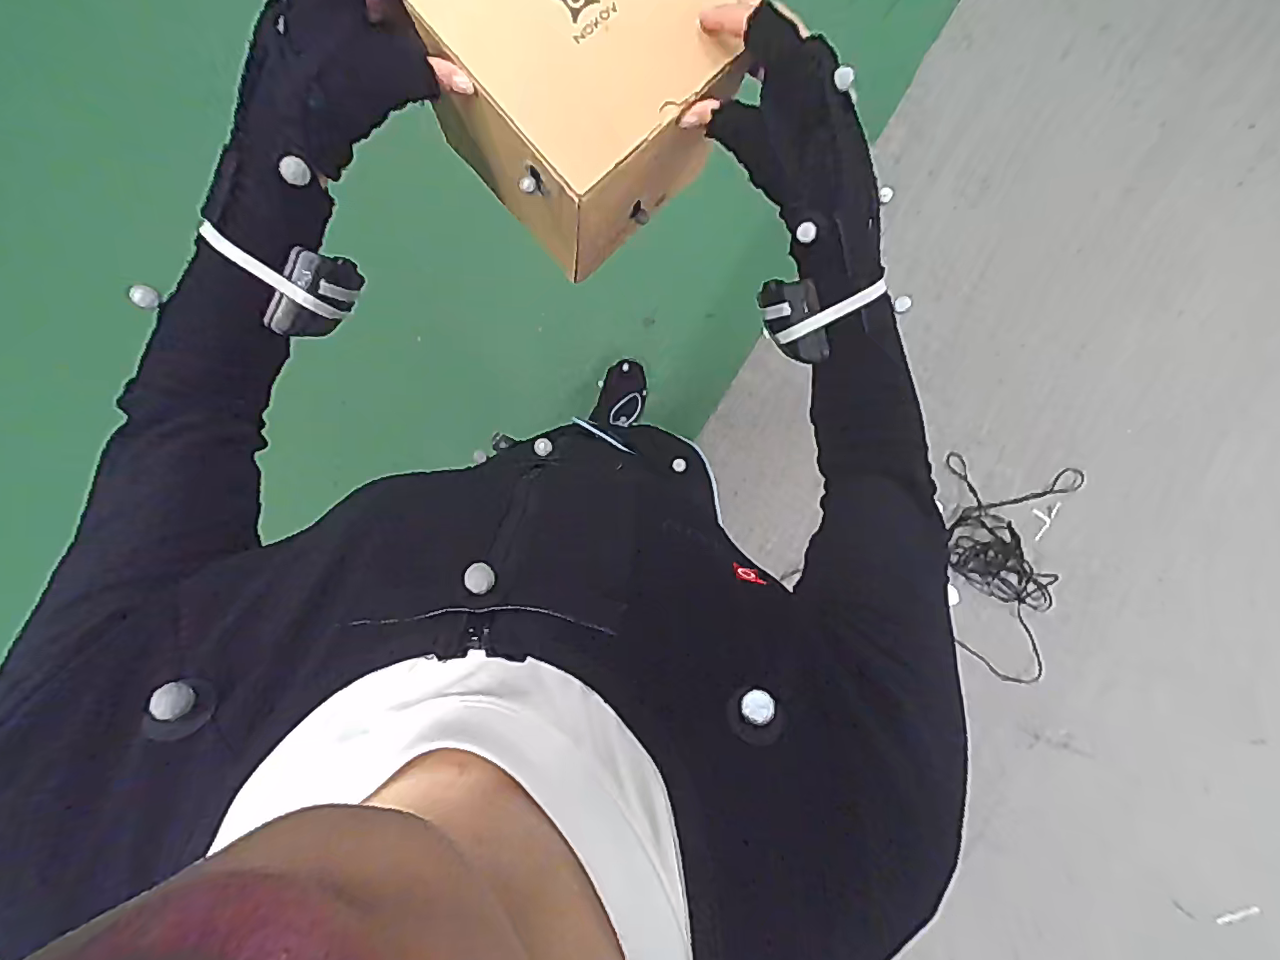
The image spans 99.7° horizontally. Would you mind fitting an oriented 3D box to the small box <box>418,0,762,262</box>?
[{"bbox_3d":[-0.045,-0.309,0.423,0.168,0.176,0.179,-43,98,-4],"label":"small box"}]
